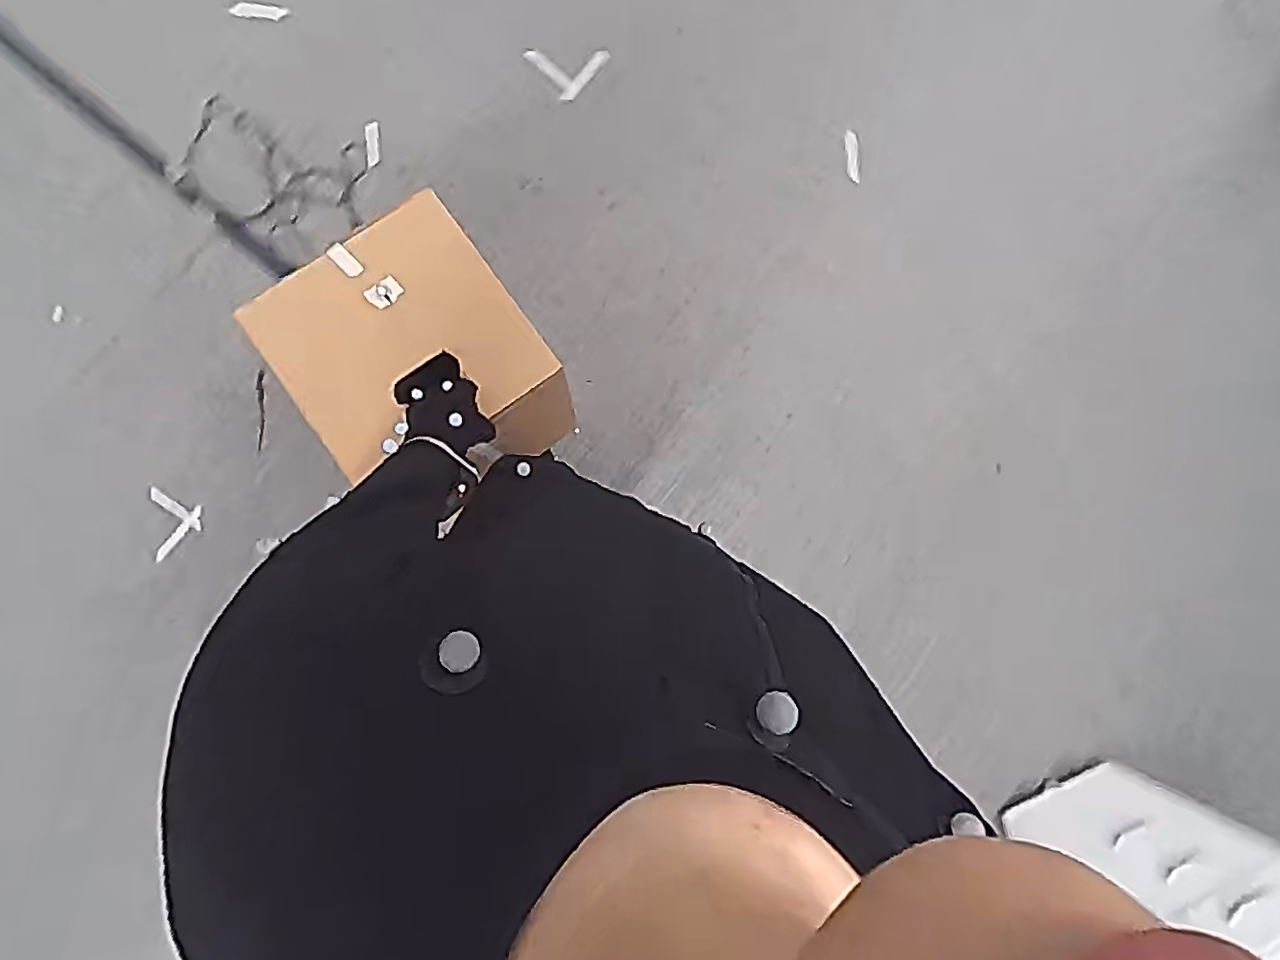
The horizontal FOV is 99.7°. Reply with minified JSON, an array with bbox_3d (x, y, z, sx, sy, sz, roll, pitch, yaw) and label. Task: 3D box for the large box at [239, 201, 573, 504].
[{"bbox_3d":[-0.343,-0.174,0.925,0.320,0.408,0.320,-37,89,-5],"label":"large box"}]
